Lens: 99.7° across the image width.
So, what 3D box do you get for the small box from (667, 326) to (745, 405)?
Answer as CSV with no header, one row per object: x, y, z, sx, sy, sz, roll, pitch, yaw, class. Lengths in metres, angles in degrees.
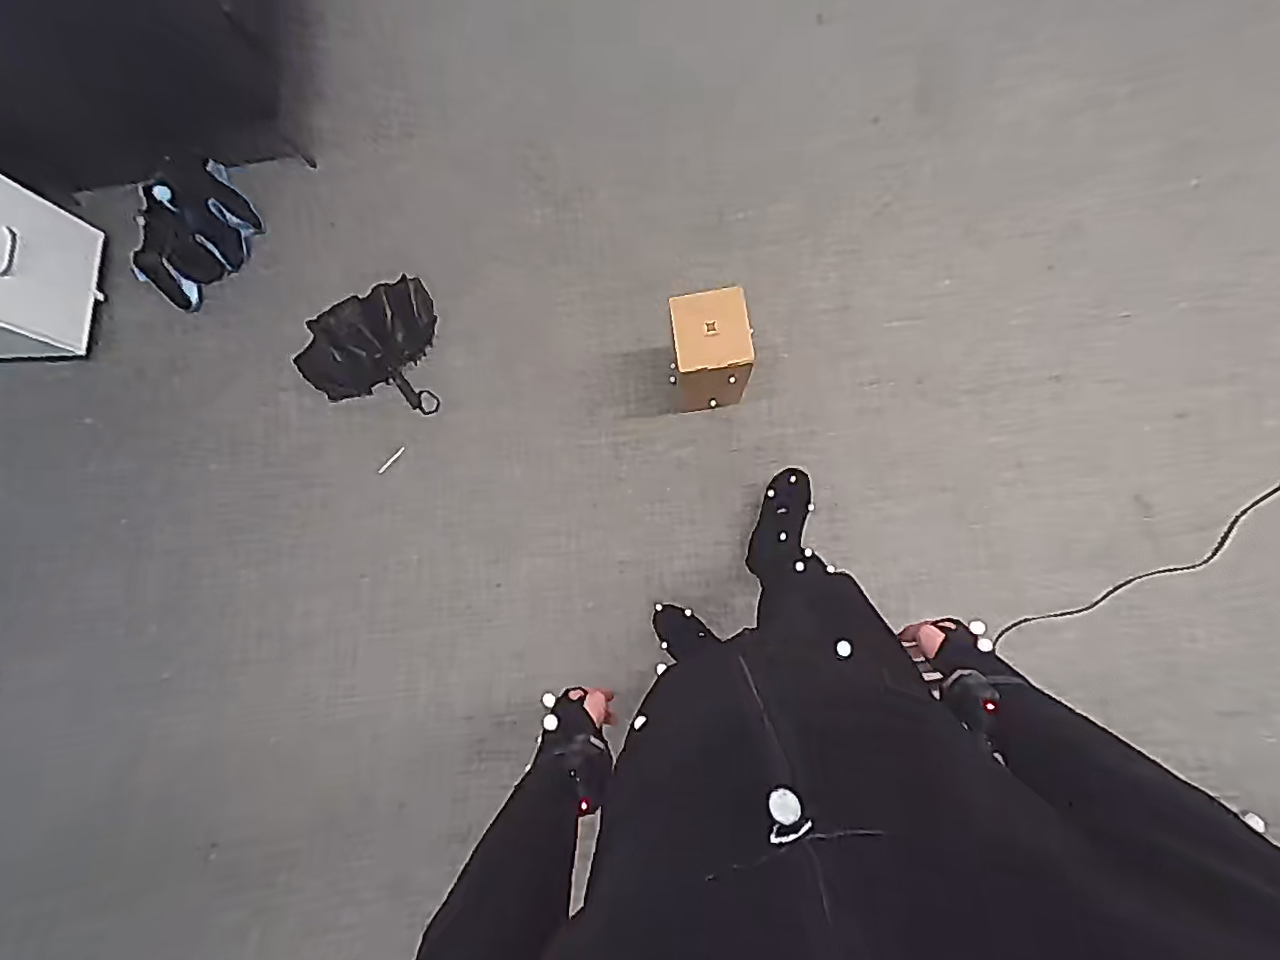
0.166,-0.296,1.374,0.168,0.176,0.179,-10,83,4,small box

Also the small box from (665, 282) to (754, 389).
0.152,-0.312,1.213,0.168,0.176,0.179,-9,81,3,small box
